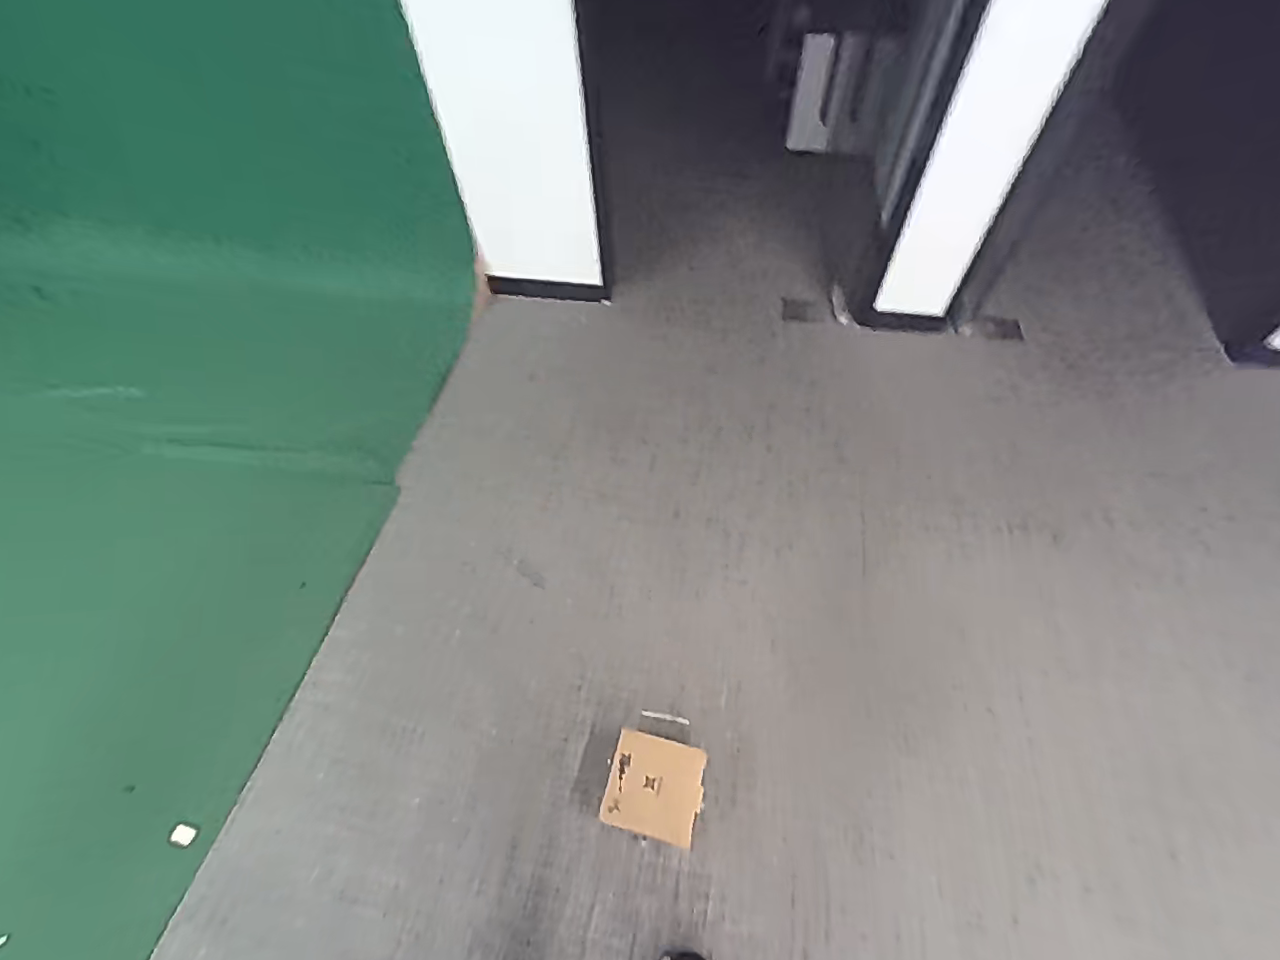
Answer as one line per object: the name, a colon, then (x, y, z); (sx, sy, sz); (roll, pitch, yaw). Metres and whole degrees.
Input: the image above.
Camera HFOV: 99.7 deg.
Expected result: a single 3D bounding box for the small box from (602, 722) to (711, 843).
small box: (0.037, 0.614, 1.098); (0.179, 0.176, 0.168); (12, 57, 11)
